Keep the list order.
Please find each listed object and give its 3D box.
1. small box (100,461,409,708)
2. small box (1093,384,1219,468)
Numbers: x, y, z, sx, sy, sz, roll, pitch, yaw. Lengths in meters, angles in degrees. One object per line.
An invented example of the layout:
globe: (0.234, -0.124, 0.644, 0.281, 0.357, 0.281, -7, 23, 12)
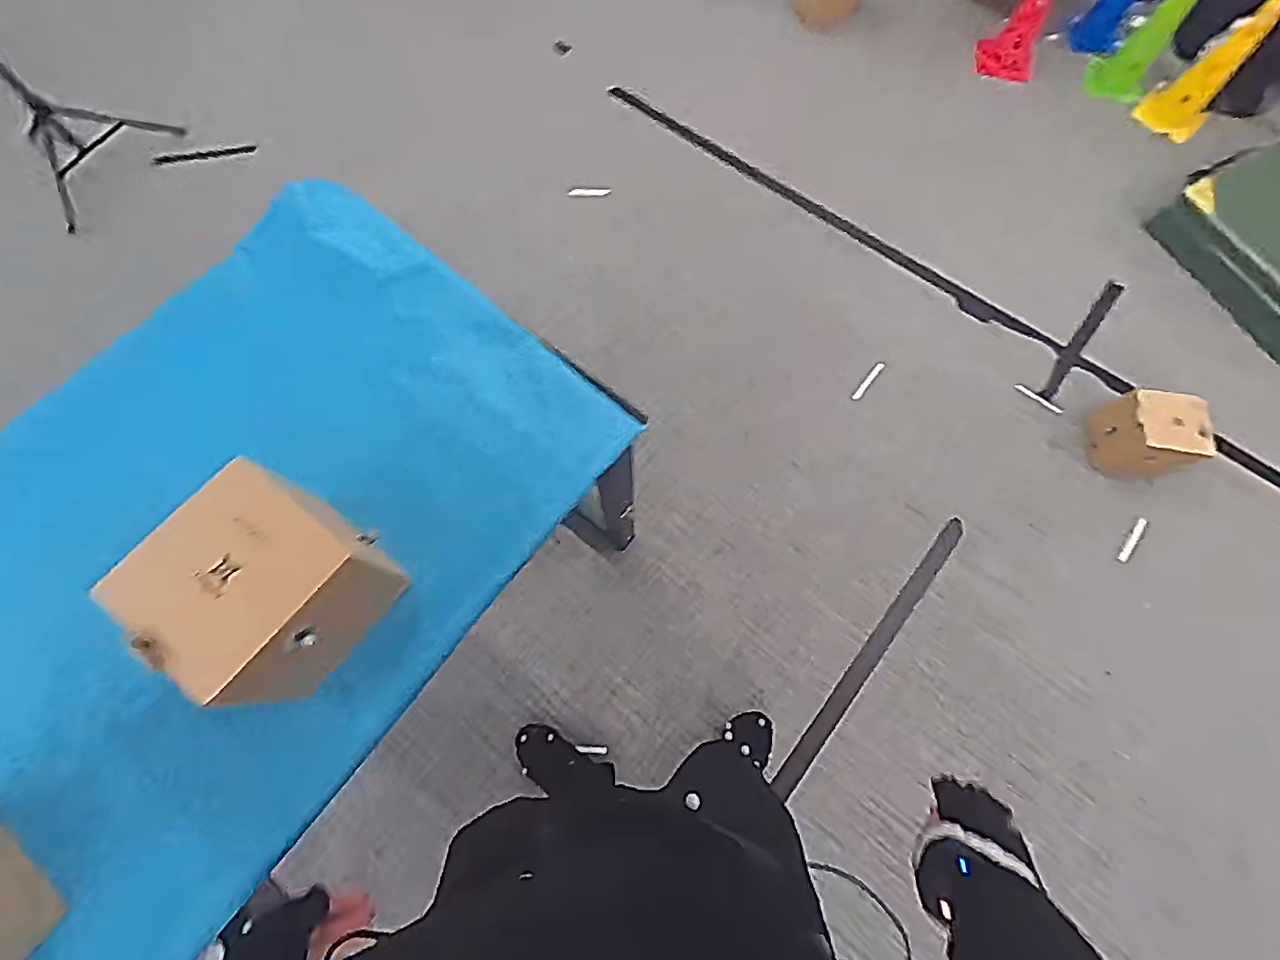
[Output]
small box: (-0.391, 0.116, 0.586, 0.168, 0.176, 0.179, 37, 75, 11)
small box: (1.358, -0.139, 1.443, 0.179, 0.176, 0.168, 6, 72, 1)
